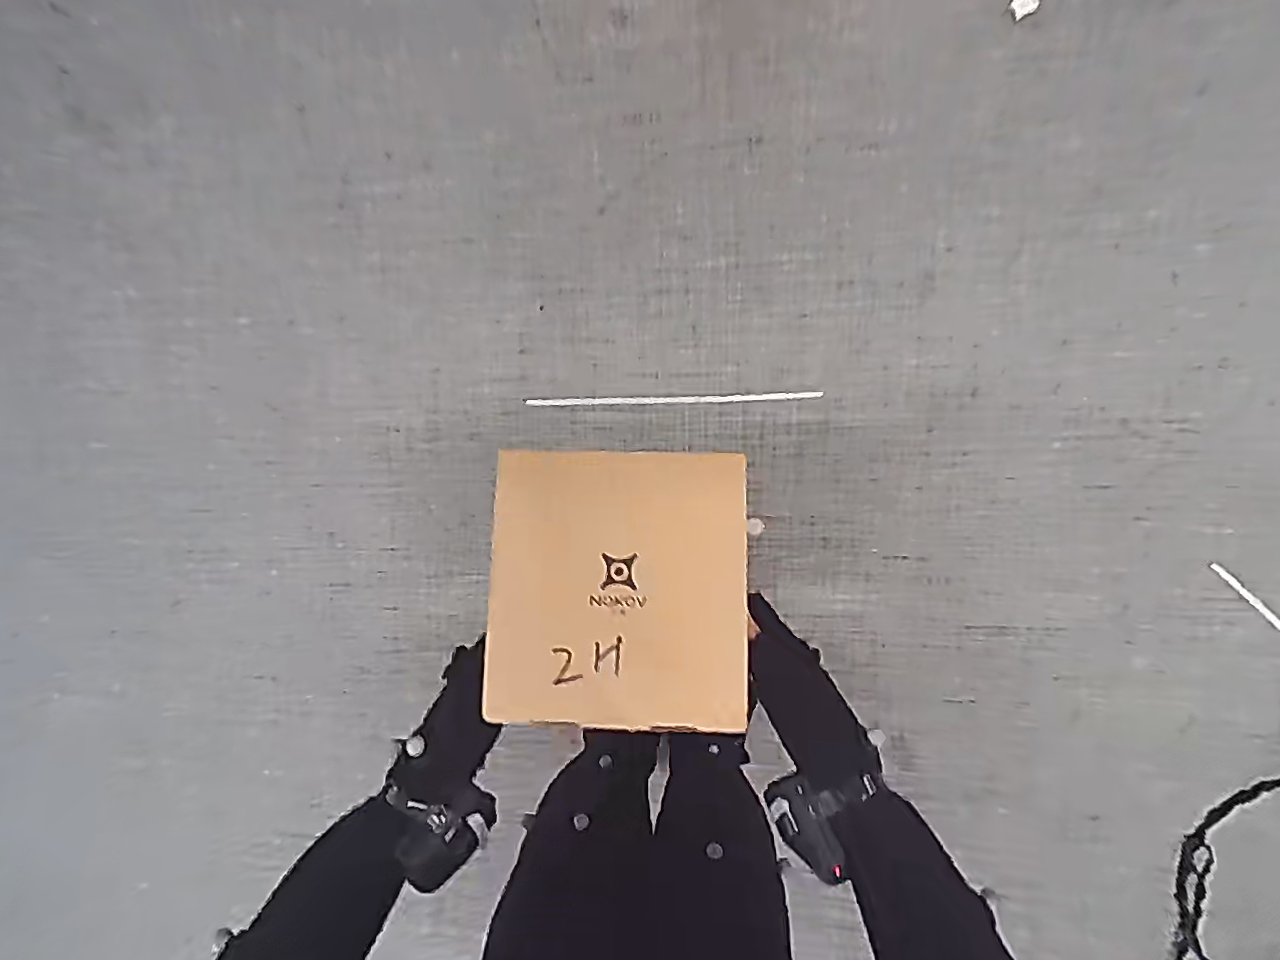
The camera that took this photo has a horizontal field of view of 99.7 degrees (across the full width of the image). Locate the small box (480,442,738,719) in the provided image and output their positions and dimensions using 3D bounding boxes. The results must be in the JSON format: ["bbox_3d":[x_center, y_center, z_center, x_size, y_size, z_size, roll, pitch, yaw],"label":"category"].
[{"bbox_3d":[-0.015,0.074,0.433,0.168,0.176,0.179,1,82,3],"label":"small box"}]
